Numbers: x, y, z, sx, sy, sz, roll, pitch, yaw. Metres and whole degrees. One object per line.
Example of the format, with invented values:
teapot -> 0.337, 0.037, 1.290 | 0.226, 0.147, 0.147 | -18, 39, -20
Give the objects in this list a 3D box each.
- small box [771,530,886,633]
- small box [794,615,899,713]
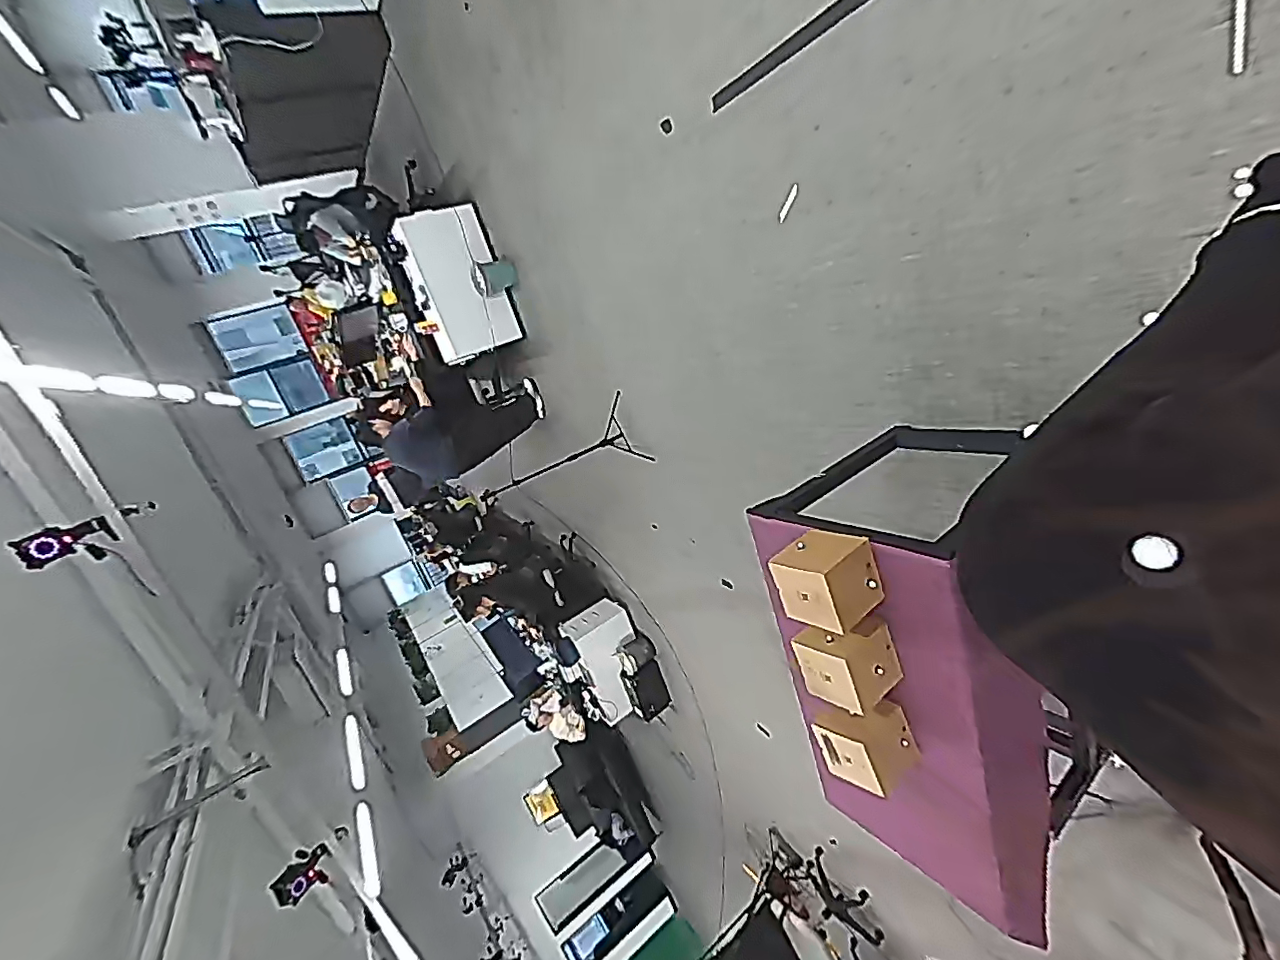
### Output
small box -> 0.457, 0.235, 1.311 | 0.179, 0.176, 0.168 | 6, 122, 61
small box -> 0.534, 0.450, 1.382 | 0.179, 0.176, 0.168 | 2, 117, 61
